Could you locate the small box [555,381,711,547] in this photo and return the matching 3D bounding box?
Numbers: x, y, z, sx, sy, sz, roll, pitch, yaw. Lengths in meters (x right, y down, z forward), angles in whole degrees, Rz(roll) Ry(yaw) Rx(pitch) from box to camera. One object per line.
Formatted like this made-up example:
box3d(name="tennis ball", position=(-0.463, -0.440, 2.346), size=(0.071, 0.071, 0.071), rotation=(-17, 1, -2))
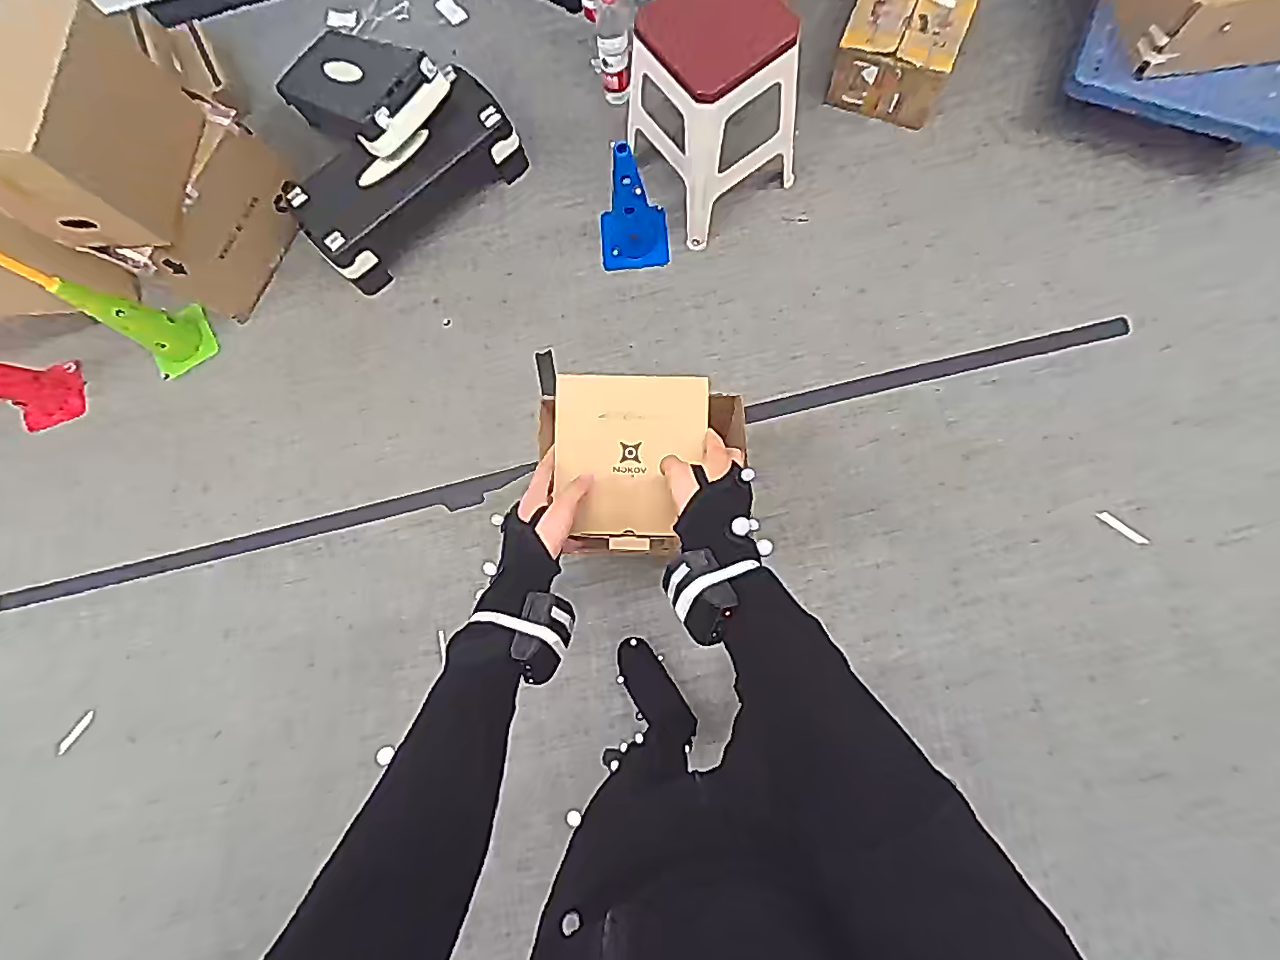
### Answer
box3d(name="small box", position=(-0.005, -0.016, 0.662), size=(0.168, 0.176, 0.179), rotation=(2, 88, 1))
